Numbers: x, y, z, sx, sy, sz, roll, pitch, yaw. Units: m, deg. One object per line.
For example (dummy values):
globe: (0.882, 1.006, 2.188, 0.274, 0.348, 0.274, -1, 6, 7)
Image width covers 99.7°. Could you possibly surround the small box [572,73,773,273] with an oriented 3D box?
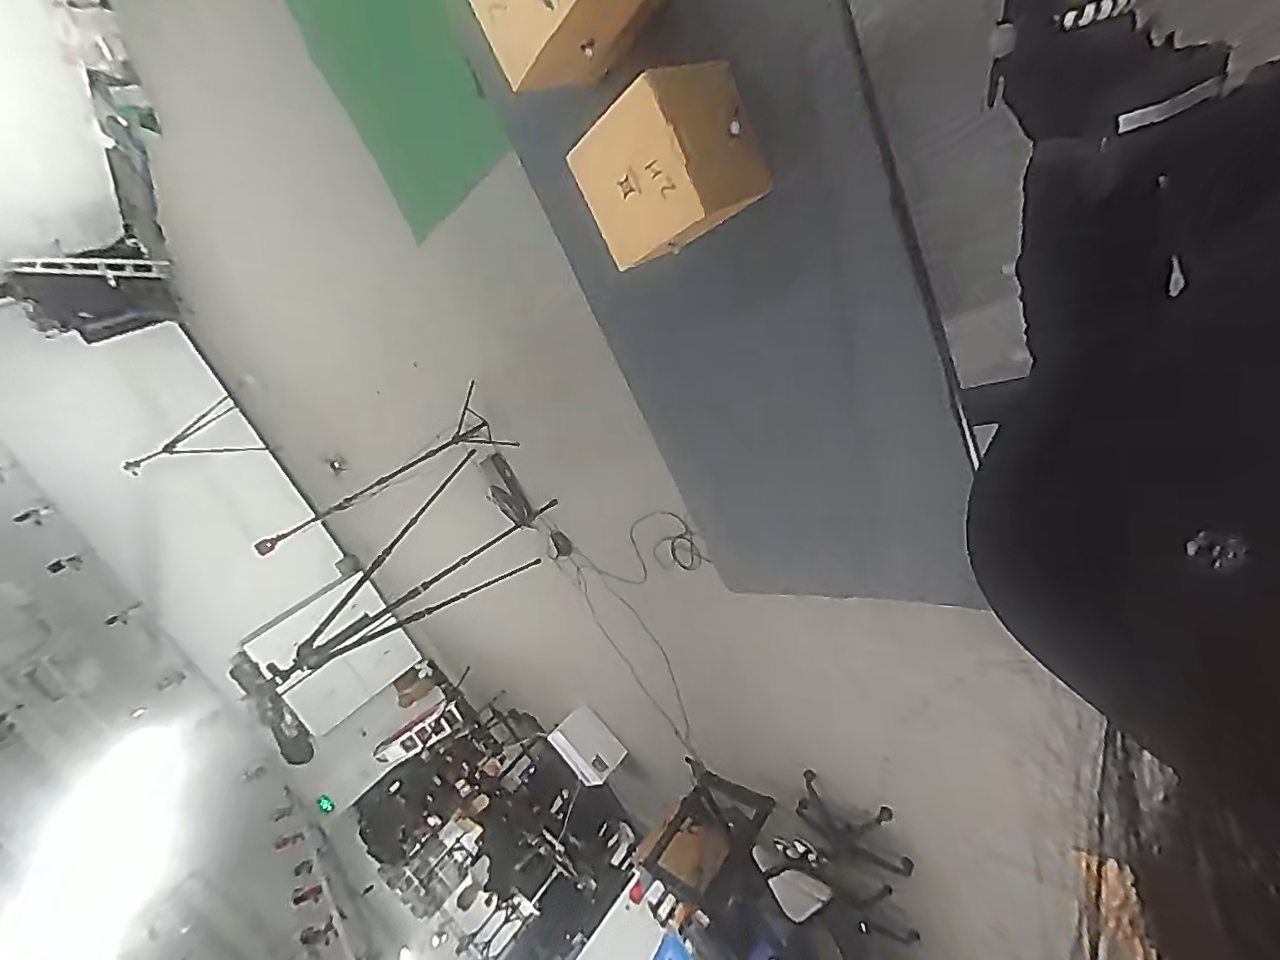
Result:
small box: (0.046, -0.412, 0.735, 0.179, 0.176, 0.168, -8, 114, 51)
